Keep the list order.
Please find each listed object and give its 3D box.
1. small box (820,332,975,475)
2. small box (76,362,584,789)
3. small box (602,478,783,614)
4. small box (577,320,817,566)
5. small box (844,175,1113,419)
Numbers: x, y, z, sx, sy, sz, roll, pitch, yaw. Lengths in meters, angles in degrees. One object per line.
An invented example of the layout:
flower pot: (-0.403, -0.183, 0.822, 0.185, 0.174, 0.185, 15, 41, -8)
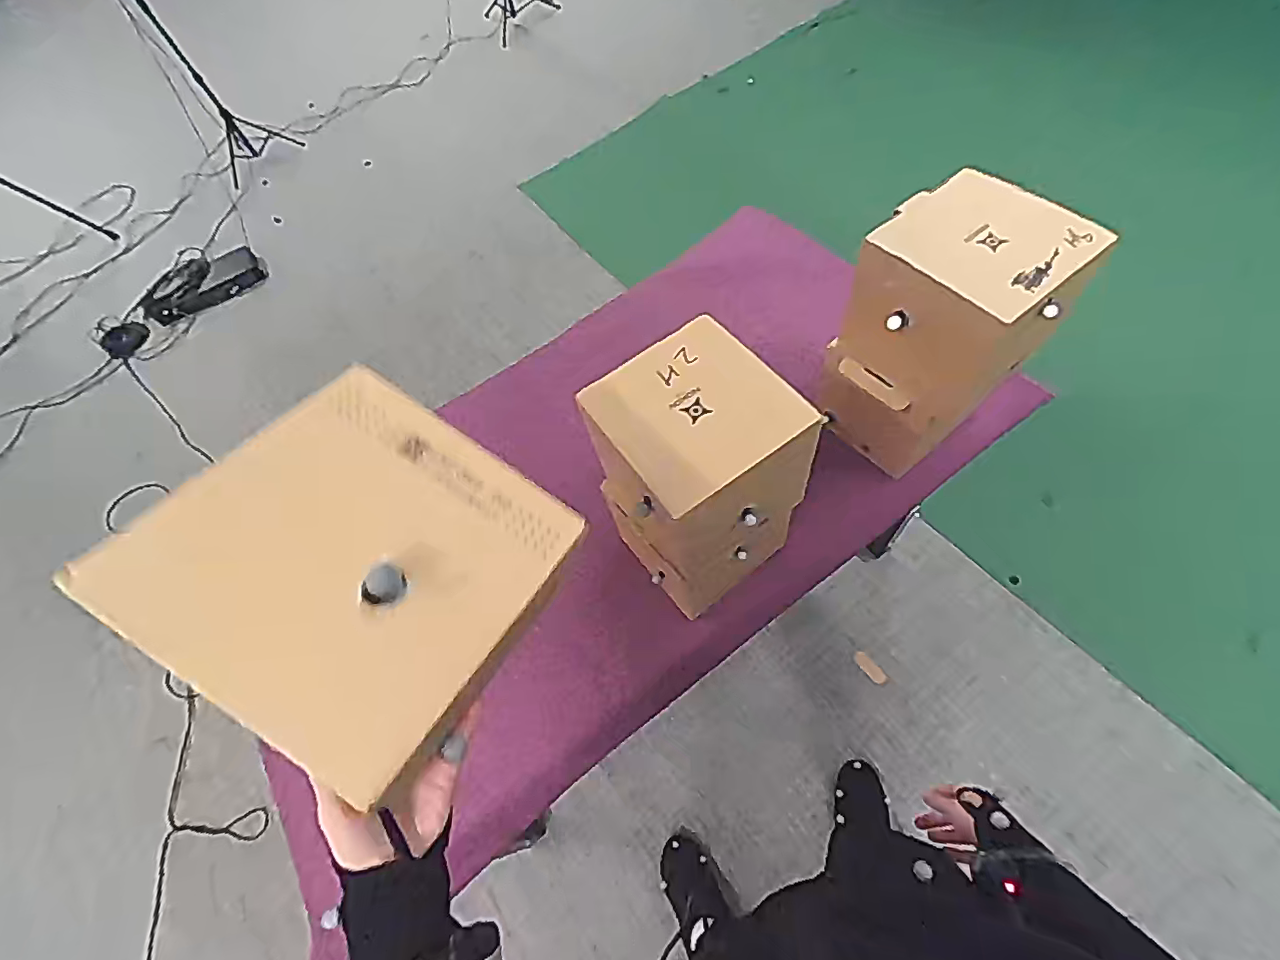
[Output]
small box: (0.379, -0.139, 0.775, 0.179, 0.176, 0.168, -38, 63, -12)
small box: (-0.154, 0.062, 0.336, 0.168, 0.179, 0.176, 34, 57, 2)
small box: (0.079, 0.052, 0.724, 0.179, 0.176, 0.168, -36, 61, -11)
small box: (0.061, -0.028, 0.581, 0.168, 0.176, 0.179, -33, 61, -9)
small box: (0.363, -0.204, 0.624, 0.168, 0.176, 0.179, -36, 61, -10)
